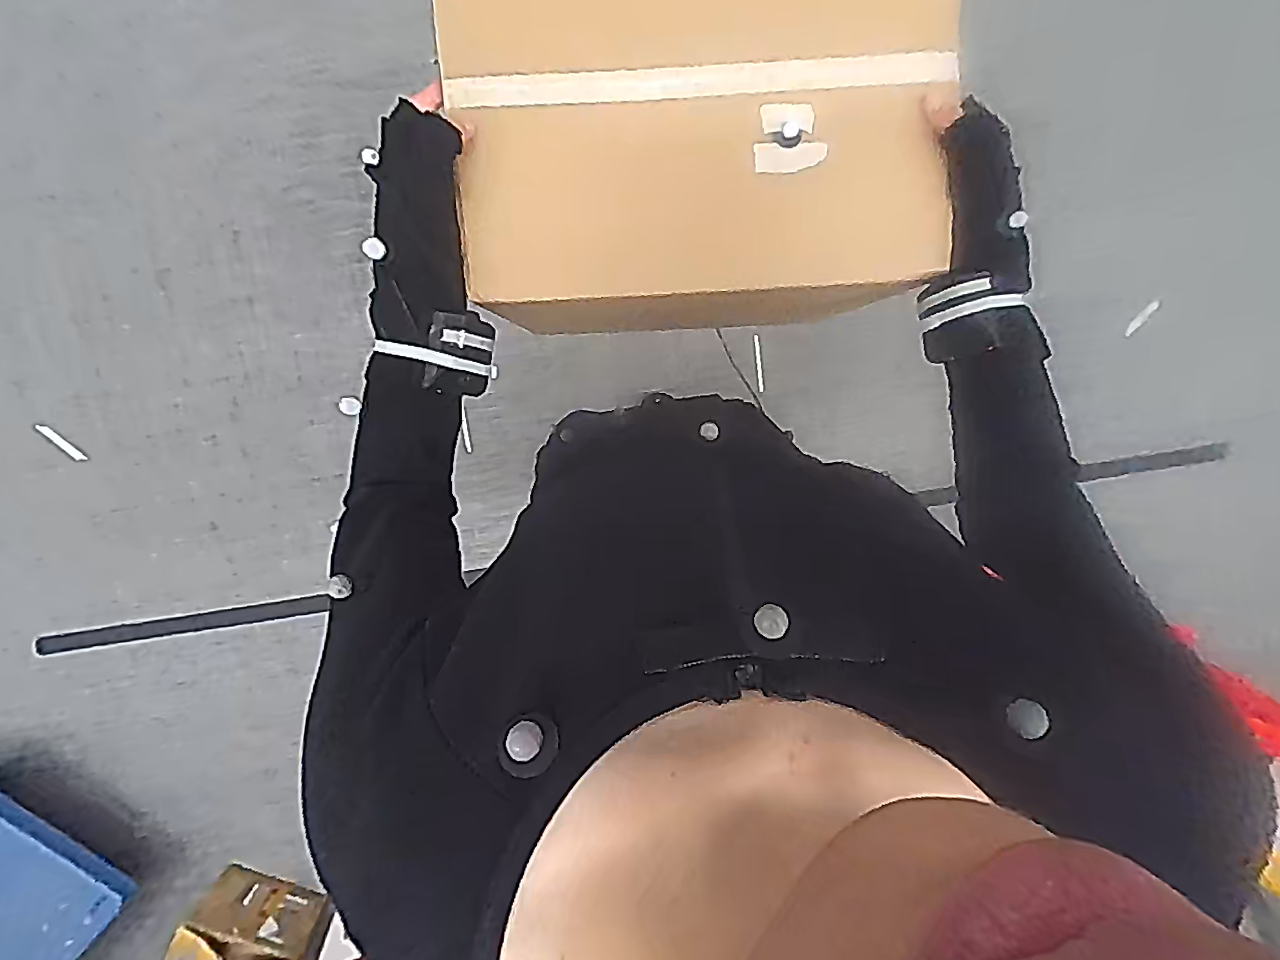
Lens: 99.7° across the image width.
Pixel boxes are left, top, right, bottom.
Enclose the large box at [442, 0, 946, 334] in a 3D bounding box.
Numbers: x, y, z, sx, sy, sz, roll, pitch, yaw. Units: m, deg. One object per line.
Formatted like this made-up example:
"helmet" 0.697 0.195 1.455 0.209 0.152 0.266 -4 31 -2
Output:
"large box" 0.043 -0.344 0.583 0.408 0.320 0.320 -3 100 -1
